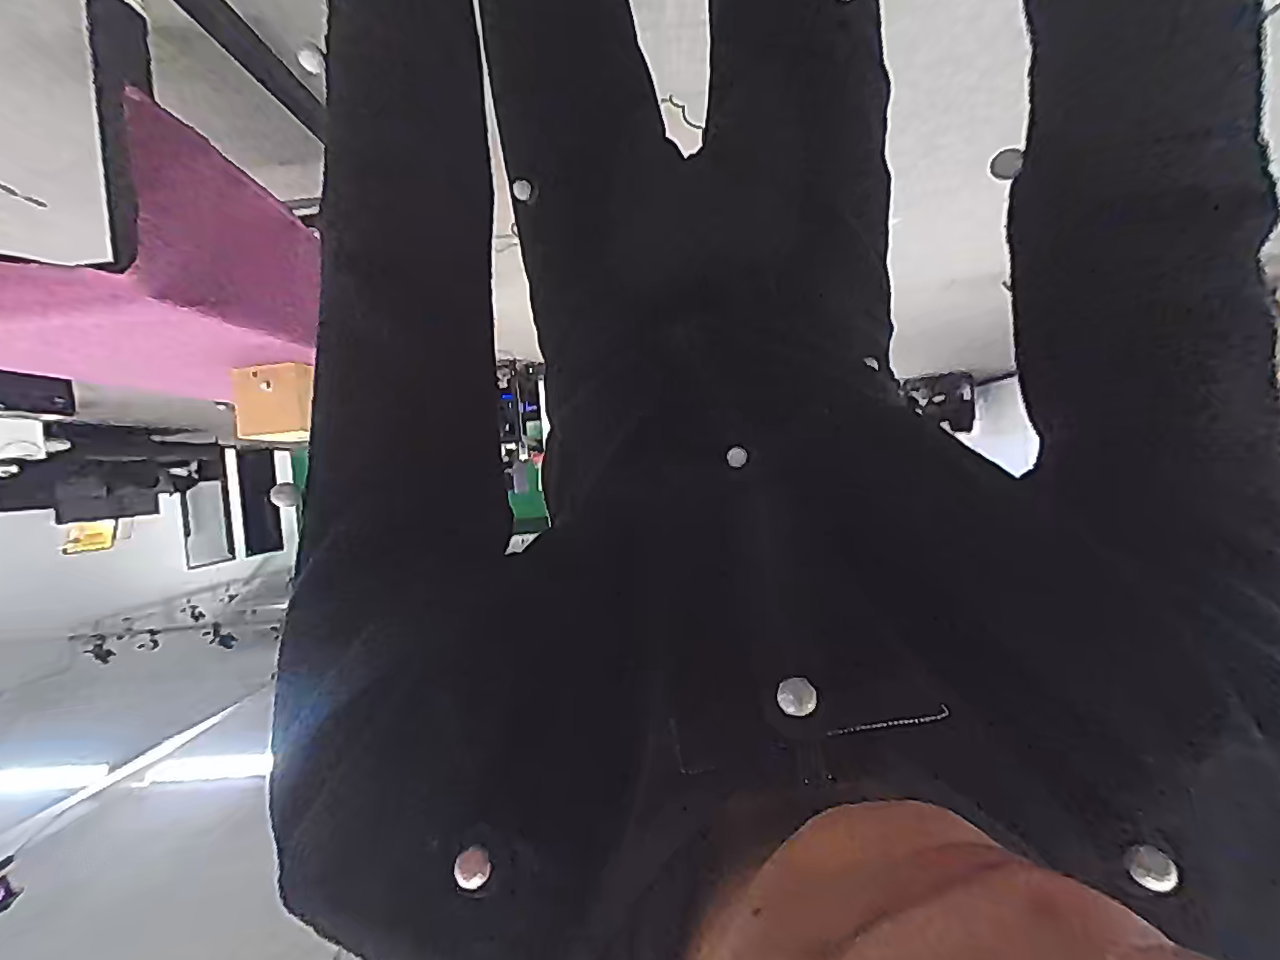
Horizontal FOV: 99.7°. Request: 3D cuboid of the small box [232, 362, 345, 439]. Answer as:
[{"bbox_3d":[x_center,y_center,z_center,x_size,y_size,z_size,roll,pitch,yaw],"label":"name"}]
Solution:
[{"bbox_3d":[-0.873,-0.196,1.351,0.168,0.176,0.179,-5,-179,6],"label":"small box"}]
